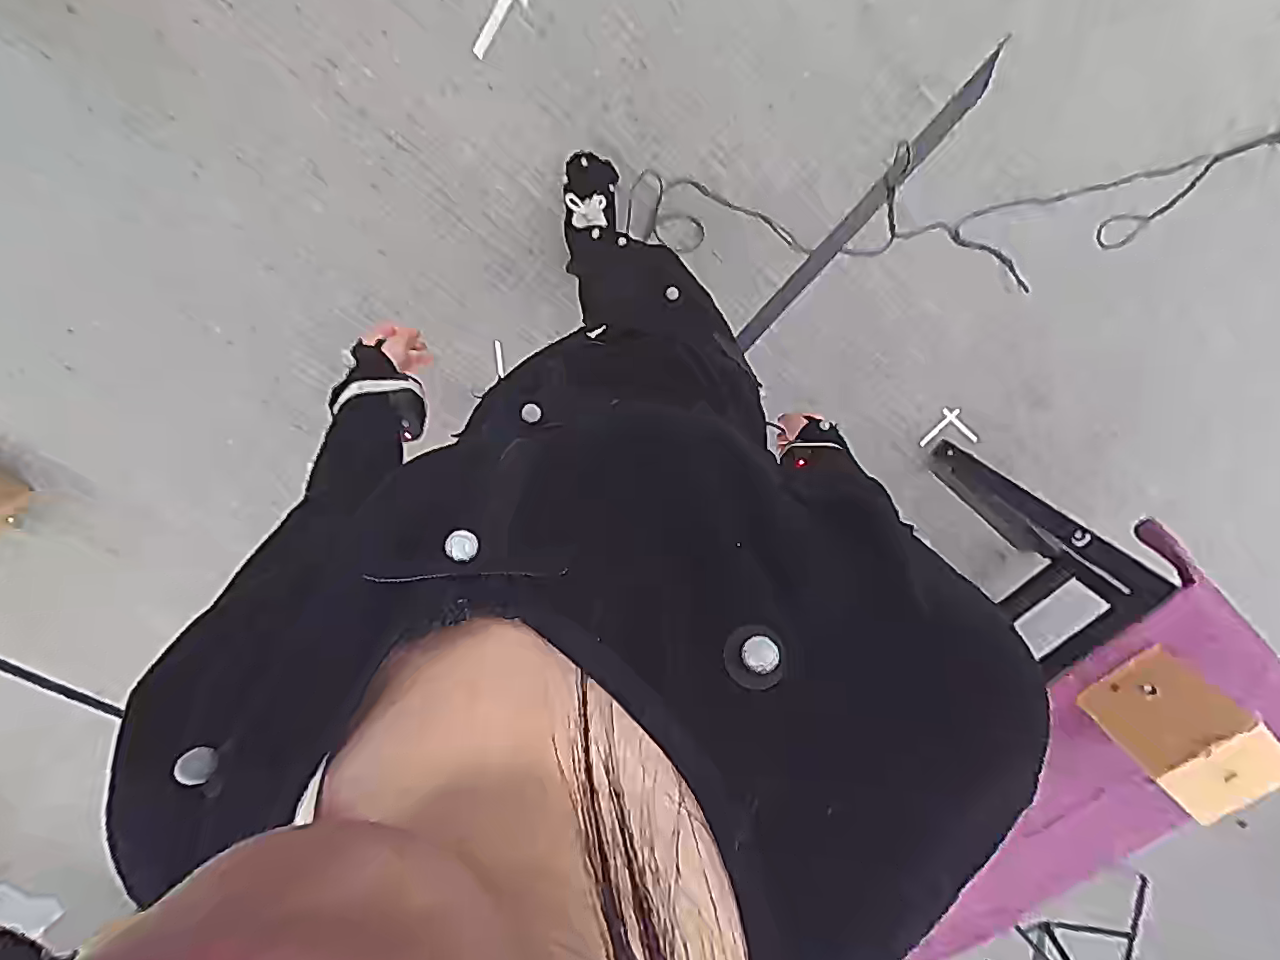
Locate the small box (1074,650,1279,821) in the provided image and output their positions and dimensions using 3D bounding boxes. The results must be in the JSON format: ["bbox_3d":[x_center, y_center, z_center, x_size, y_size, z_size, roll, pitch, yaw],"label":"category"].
[{"bbox_3d":[0.901,0.423,0.913,0.179,0.176,0.168,39,108,-18],"label":"small box"}]
